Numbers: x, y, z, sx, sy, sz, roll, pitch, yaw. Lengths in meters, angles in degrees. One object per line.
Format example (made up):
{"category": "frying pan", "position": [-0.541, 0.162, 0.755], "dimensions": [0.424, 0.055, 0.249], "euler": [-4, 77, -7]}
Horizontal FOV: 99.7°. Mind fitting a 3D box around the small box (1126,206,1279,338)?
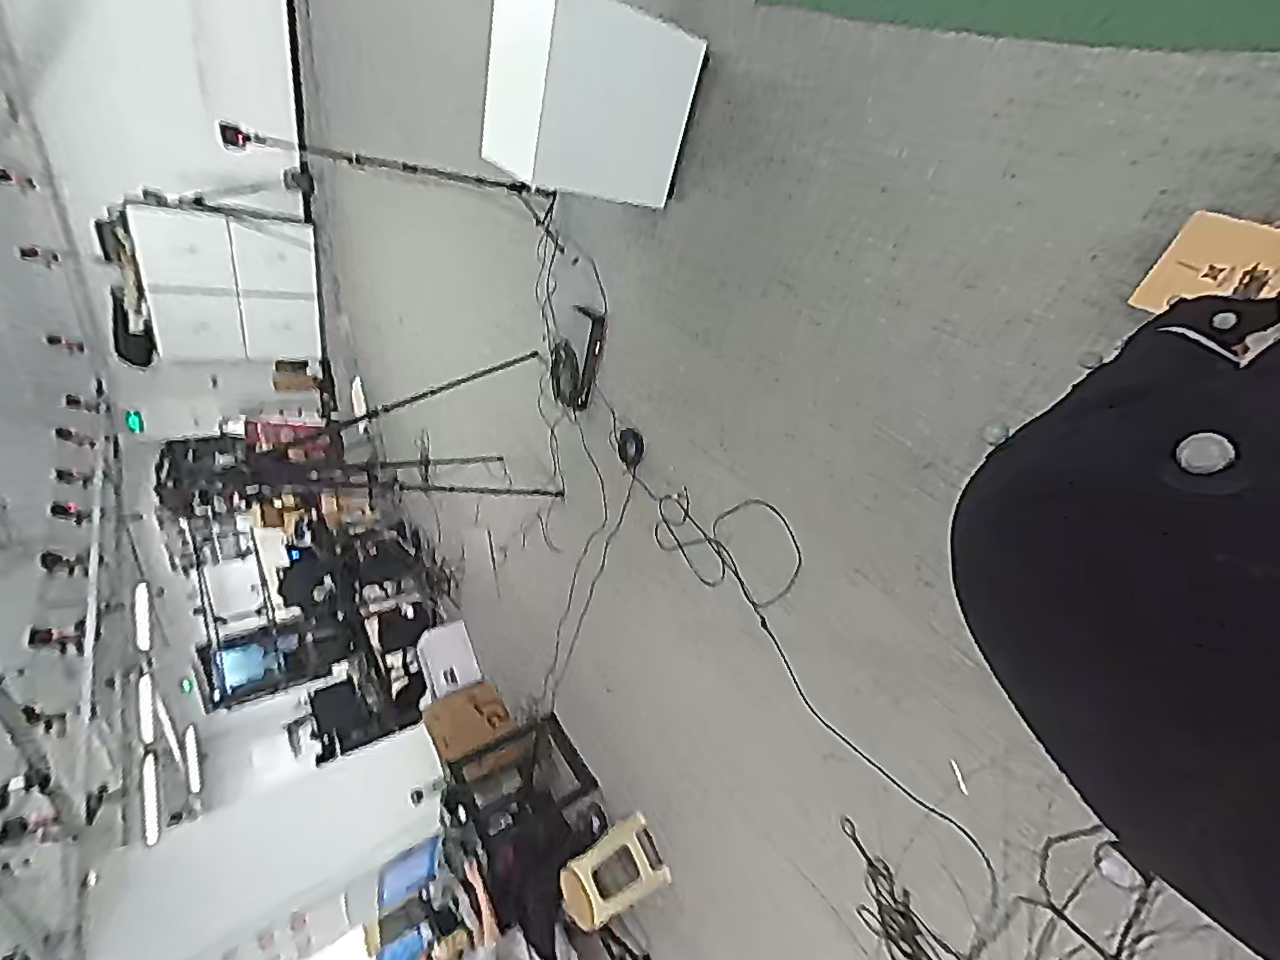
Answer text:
{"category": "small box", "position": [1.026, -0.363, 0.950], "dimensions": [0.179, 0.176, 0.168], "euler": [45, 131, 36]}
